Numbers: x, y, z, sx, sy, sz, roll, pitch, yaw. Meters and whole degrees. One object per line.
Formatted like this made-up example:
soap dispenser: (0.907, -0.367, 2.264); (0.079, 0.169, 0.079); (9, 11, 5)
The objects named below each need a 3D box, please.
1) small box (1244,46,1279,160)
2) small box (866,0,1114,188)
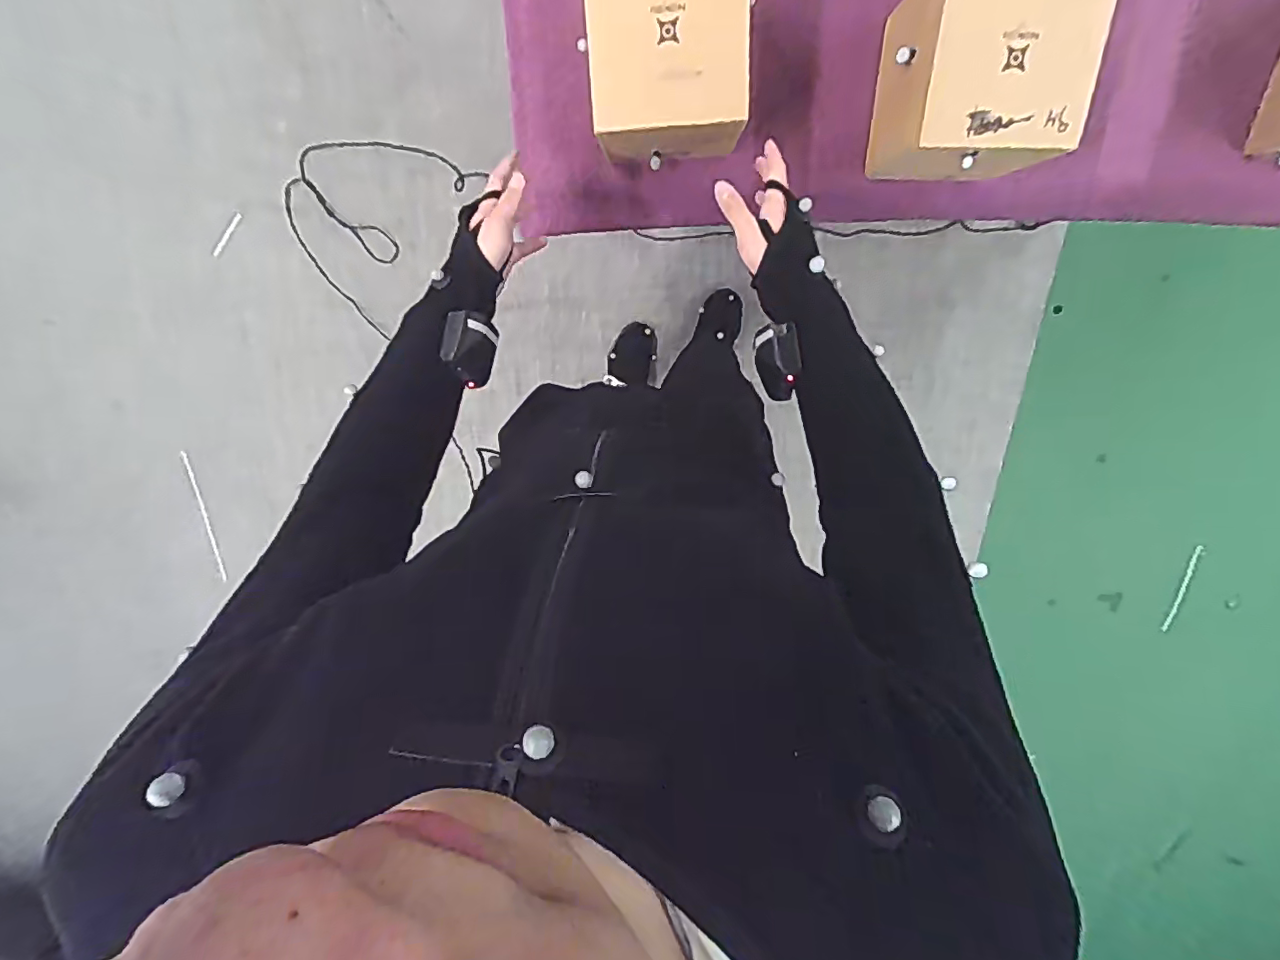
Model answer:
small box: (0.849, -0.459, 0.593); (0.168, 0.176, 0.179); (5, 109, 1)
small box: (0.377, -0.450, 0.616); (0.168, 0.176, 0.179); (2, 109, 2)
